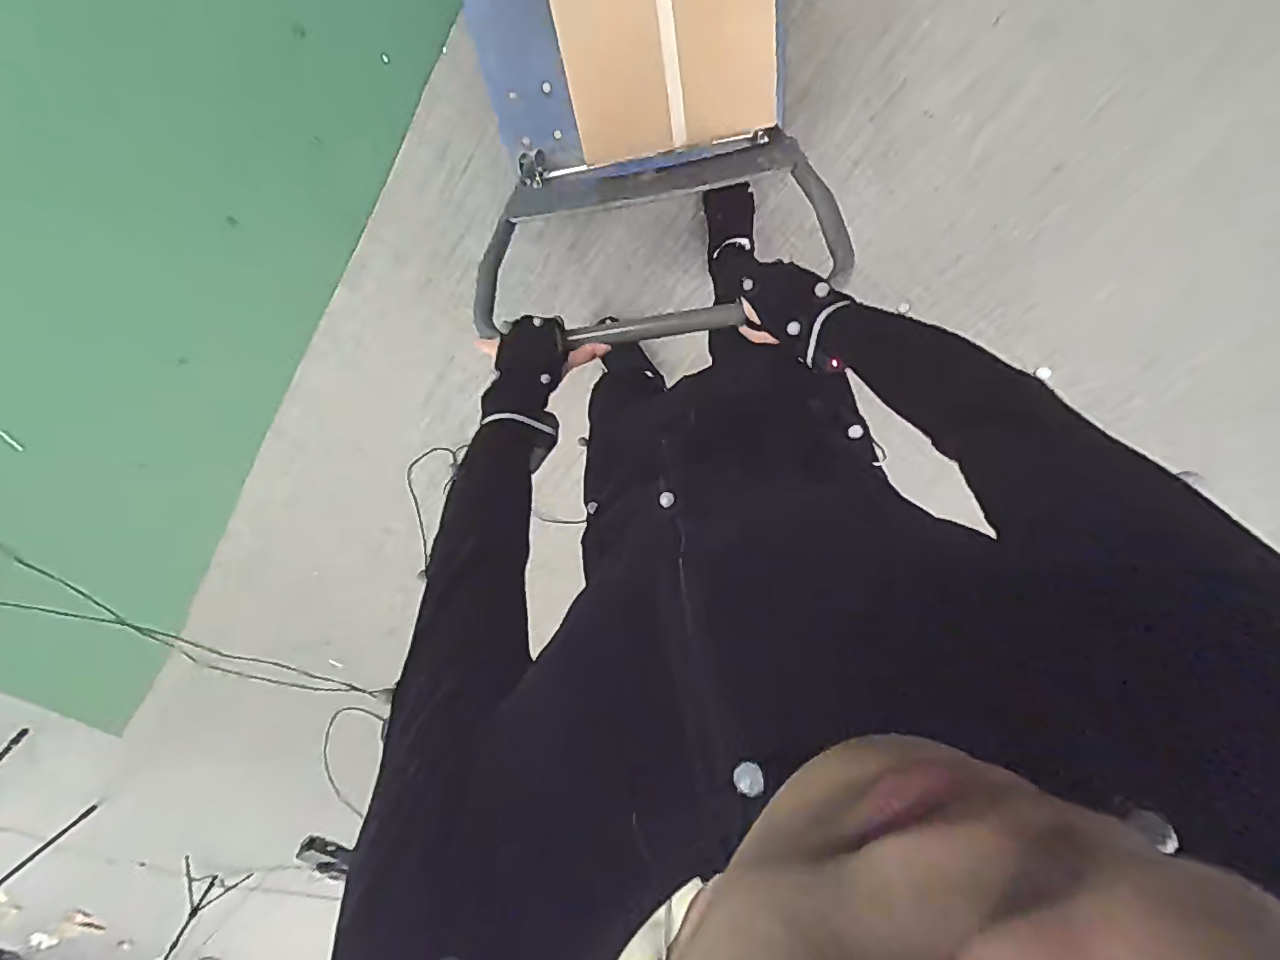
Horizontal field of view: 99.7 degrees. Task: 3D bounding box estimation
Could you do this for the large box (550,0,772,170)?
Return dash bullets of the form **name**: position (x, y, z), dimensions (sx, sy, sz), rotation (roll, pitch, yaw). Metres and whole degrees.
- **large box**: position (0.029, -0.788, 0.880), dimensions (0.320, 0.320, 0.408), rotation (-8, 131, 7)
